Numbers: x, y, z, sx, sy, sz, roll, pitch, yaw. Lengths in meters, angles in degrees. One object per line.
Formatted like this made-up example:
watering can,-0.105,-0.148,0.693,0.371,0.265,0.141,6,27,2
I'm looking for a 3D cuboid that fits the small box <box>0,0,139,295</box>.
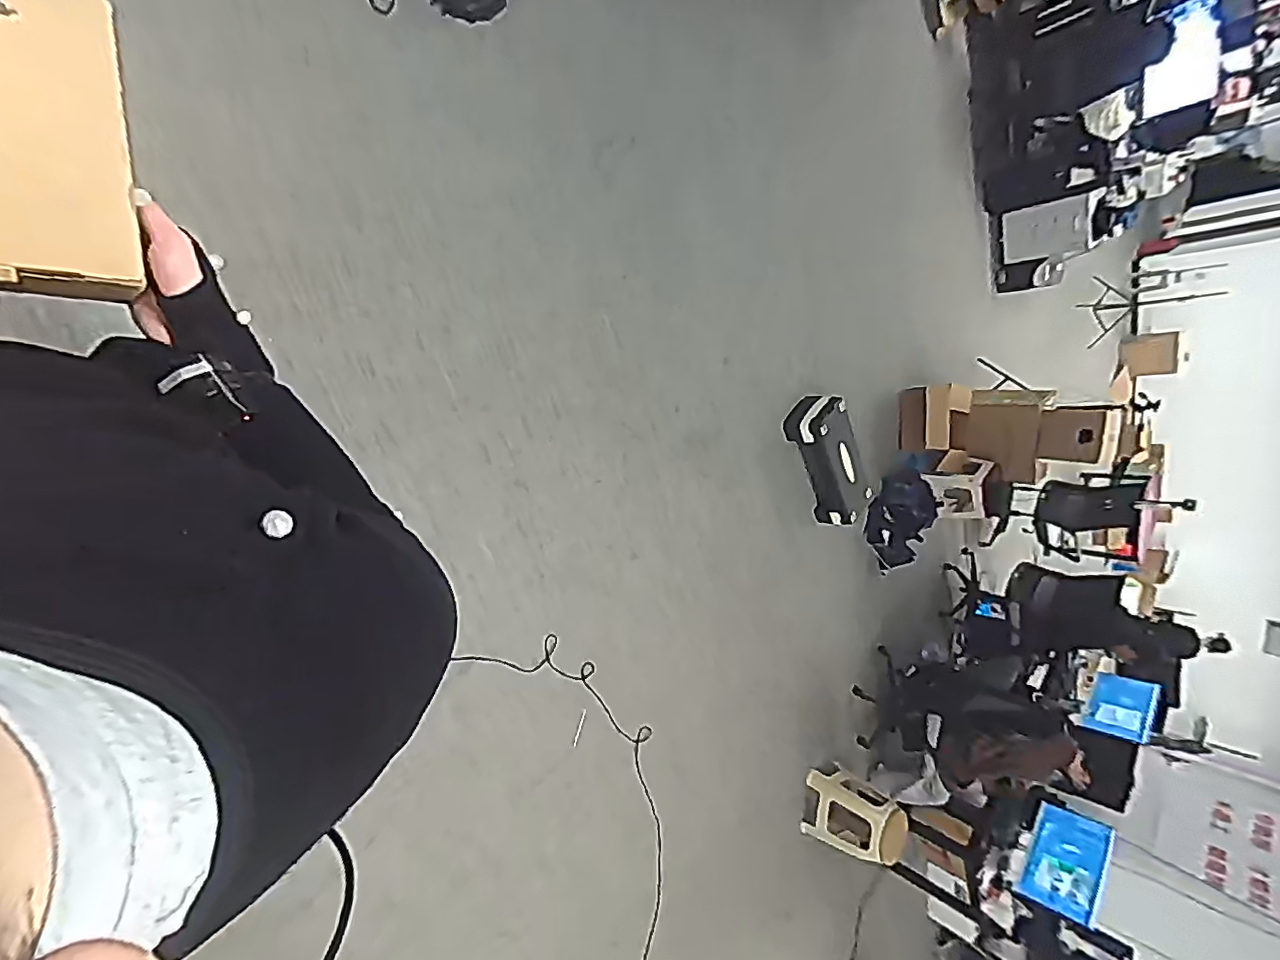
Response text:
small box,-0.442,-0.220,0.343,0.168,0.176,0.179,-9,106,-46
